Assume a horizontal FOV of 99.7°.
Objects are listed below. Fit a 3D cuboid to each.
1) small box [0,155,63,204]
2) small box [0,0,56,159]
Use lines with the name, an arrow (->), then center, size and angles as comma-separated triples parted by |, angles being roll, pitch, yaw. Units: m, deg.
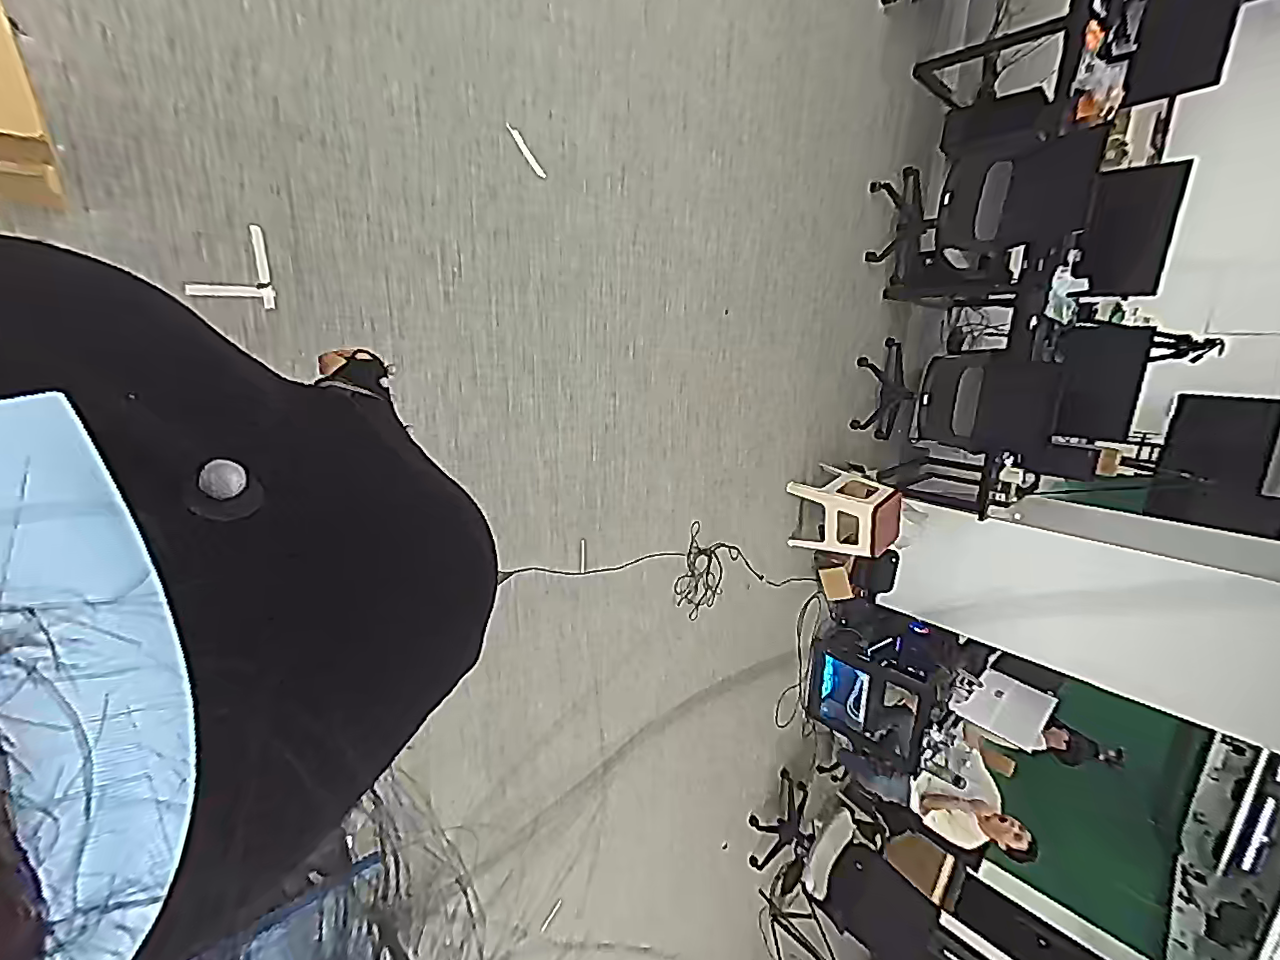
small box -> -1.058, -0.559, 0.859 | 0.168, 0.176, 0.179 | -14, 111, -42
small box -> -0.829, -0.499, 0.630 | 0.168, 0.176, 0.179 | -18, 115, -40
